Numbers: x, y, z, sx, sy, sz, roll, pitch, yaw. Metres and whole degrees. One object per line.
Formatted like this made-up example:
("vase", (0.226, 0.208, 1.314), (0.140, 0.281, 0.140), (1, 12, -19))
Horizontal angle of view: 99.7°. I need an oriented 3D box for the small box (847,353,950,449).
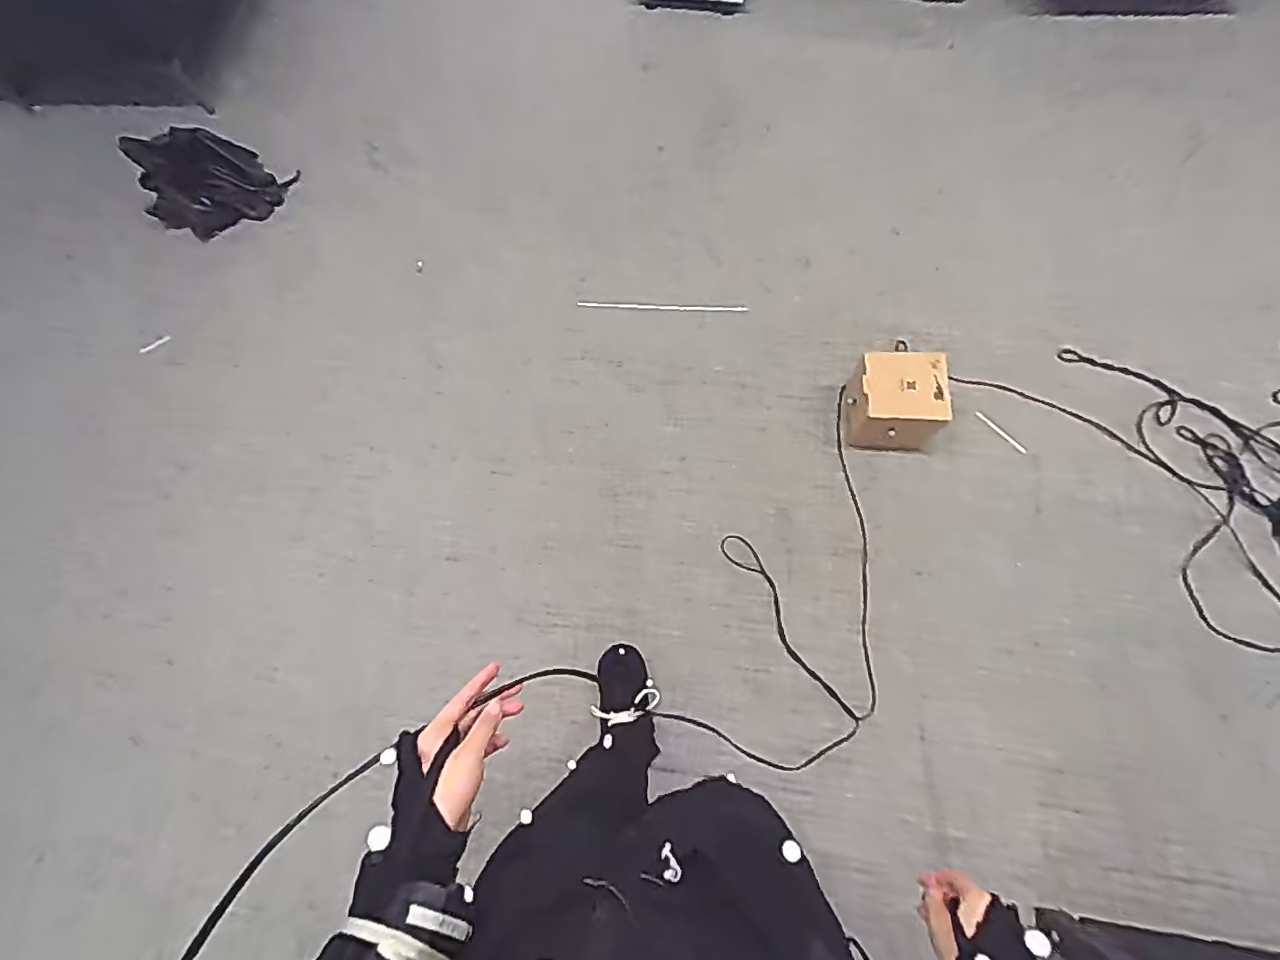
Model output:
("small box", (0.590, -0.179, 1.258), (0.179, 0.176, 0.168), (3, 72, 7))
